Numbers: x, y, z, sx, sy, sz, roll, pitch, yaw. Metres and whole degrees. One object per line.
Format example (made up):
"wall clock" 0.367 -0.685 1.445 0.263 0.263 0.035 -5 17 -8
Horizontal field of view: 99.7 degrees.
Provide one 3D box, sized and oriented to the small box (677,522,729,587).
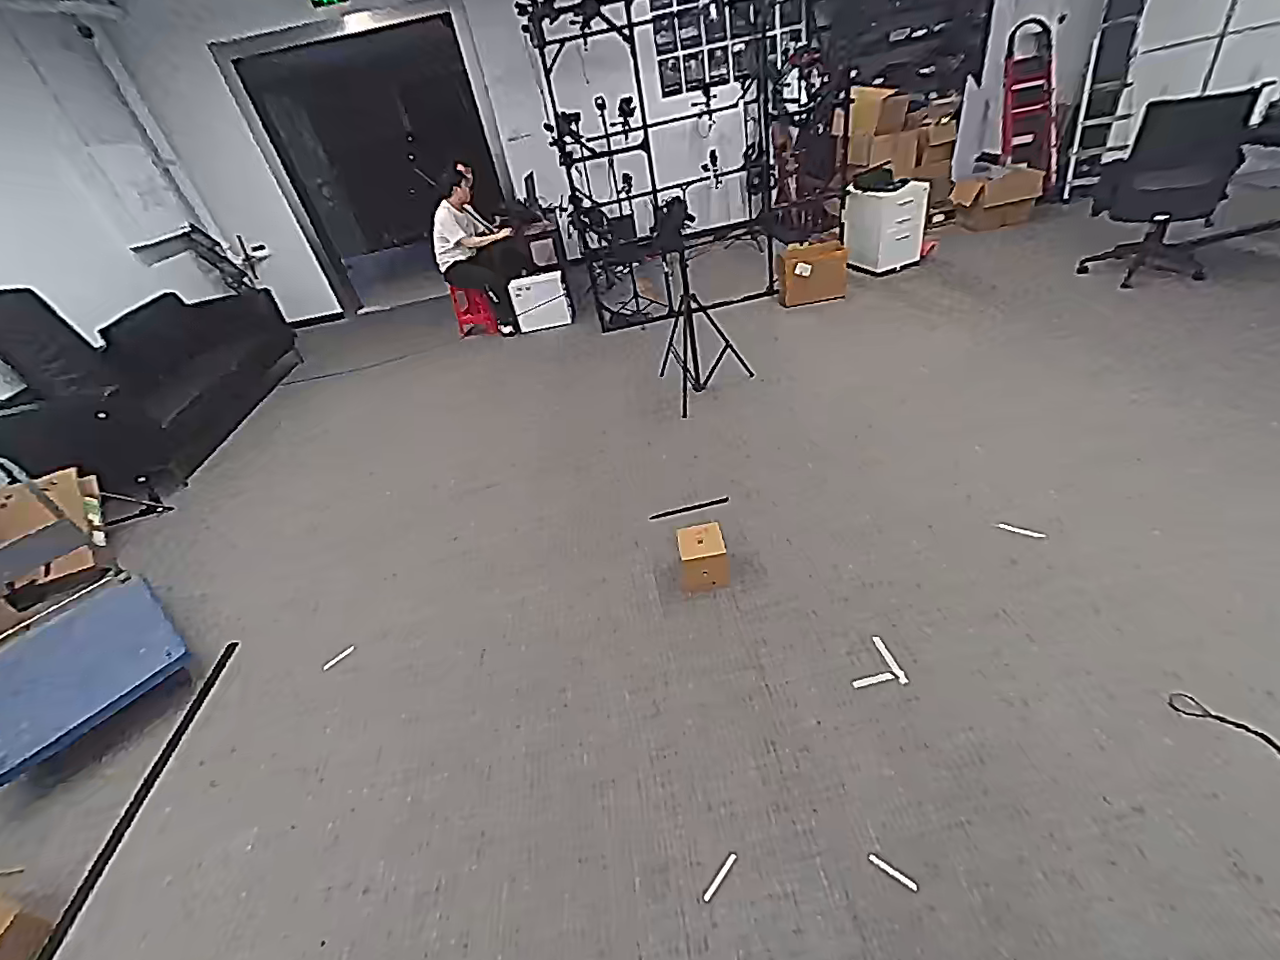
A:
"small box" 0.239 0.291 2.058 0.168 0.176 0.179 -10 35 3
